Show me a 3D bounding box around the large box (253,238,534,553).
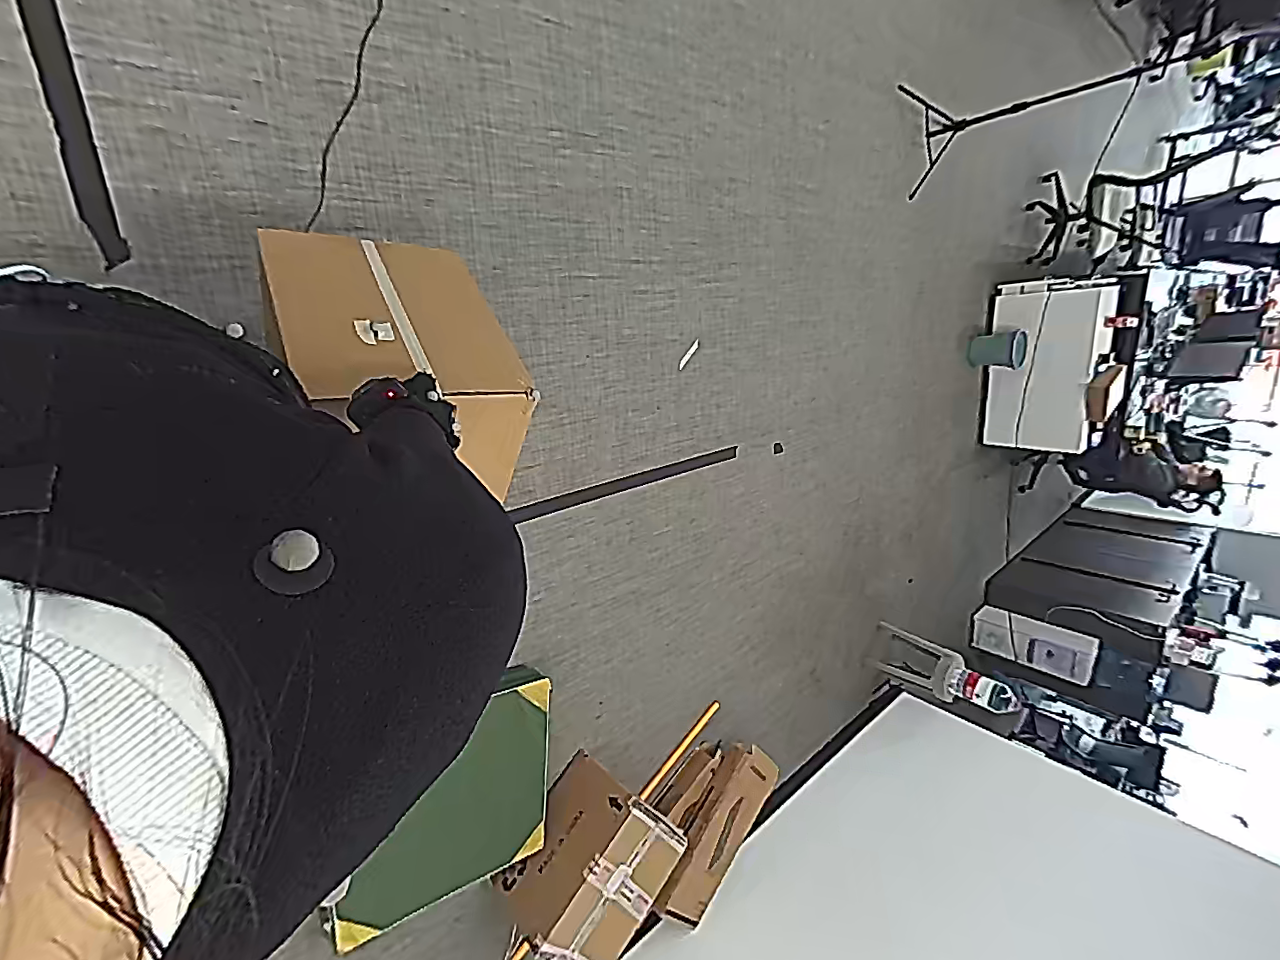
[{"bbox_3d":[-0.434,-0.146,0.922,0.320,0.408,0.320,-10,144,-36],"label":"large box"}]
